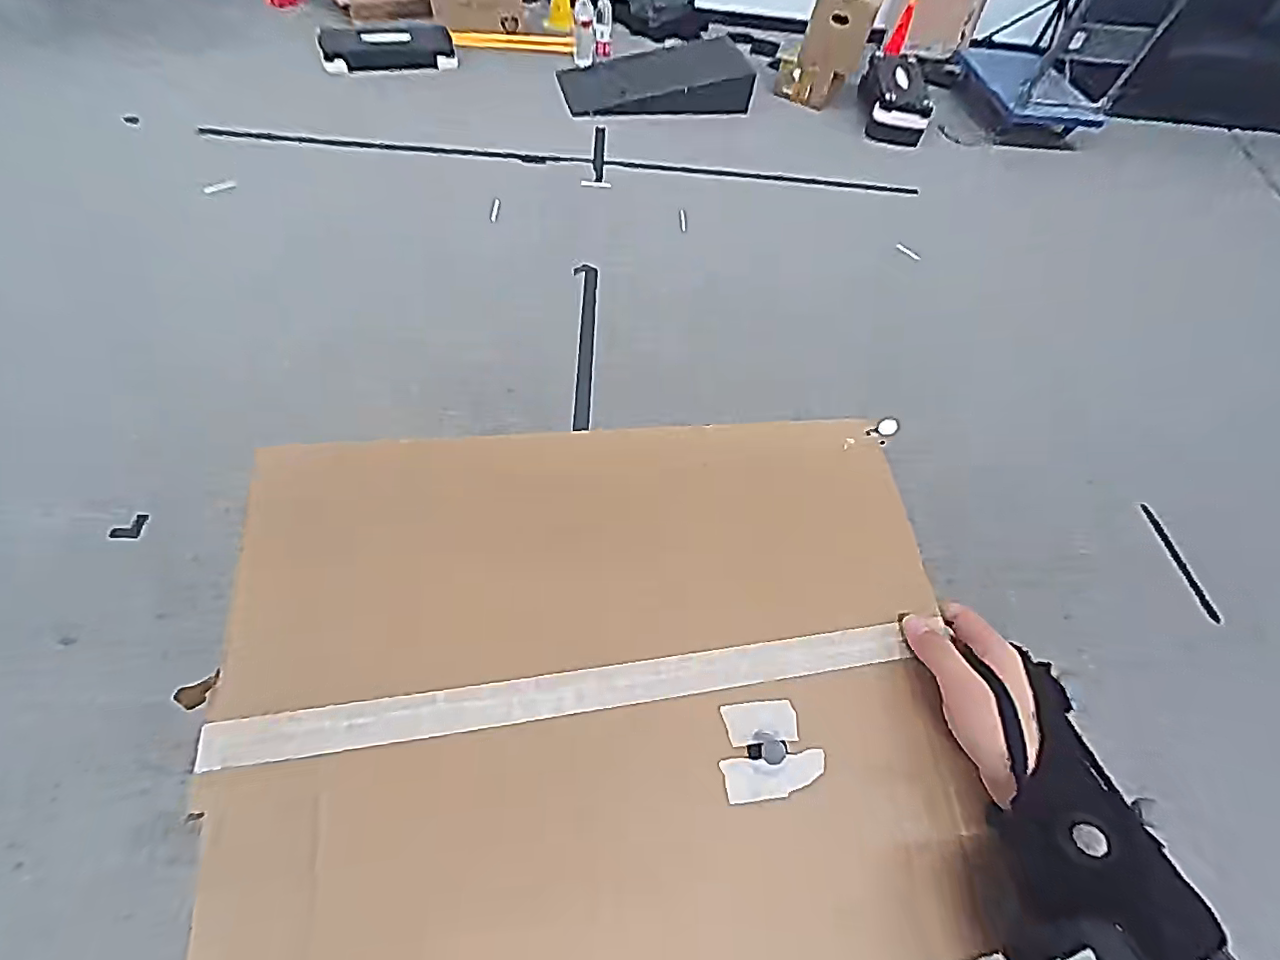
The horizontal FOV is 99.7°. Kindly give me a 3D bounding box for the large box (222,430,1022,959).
[{"bbox_3d":[-0.030,0.175,0.442,0.408,0.320,0.320,-4,69,-13],"label":"large box"}]
